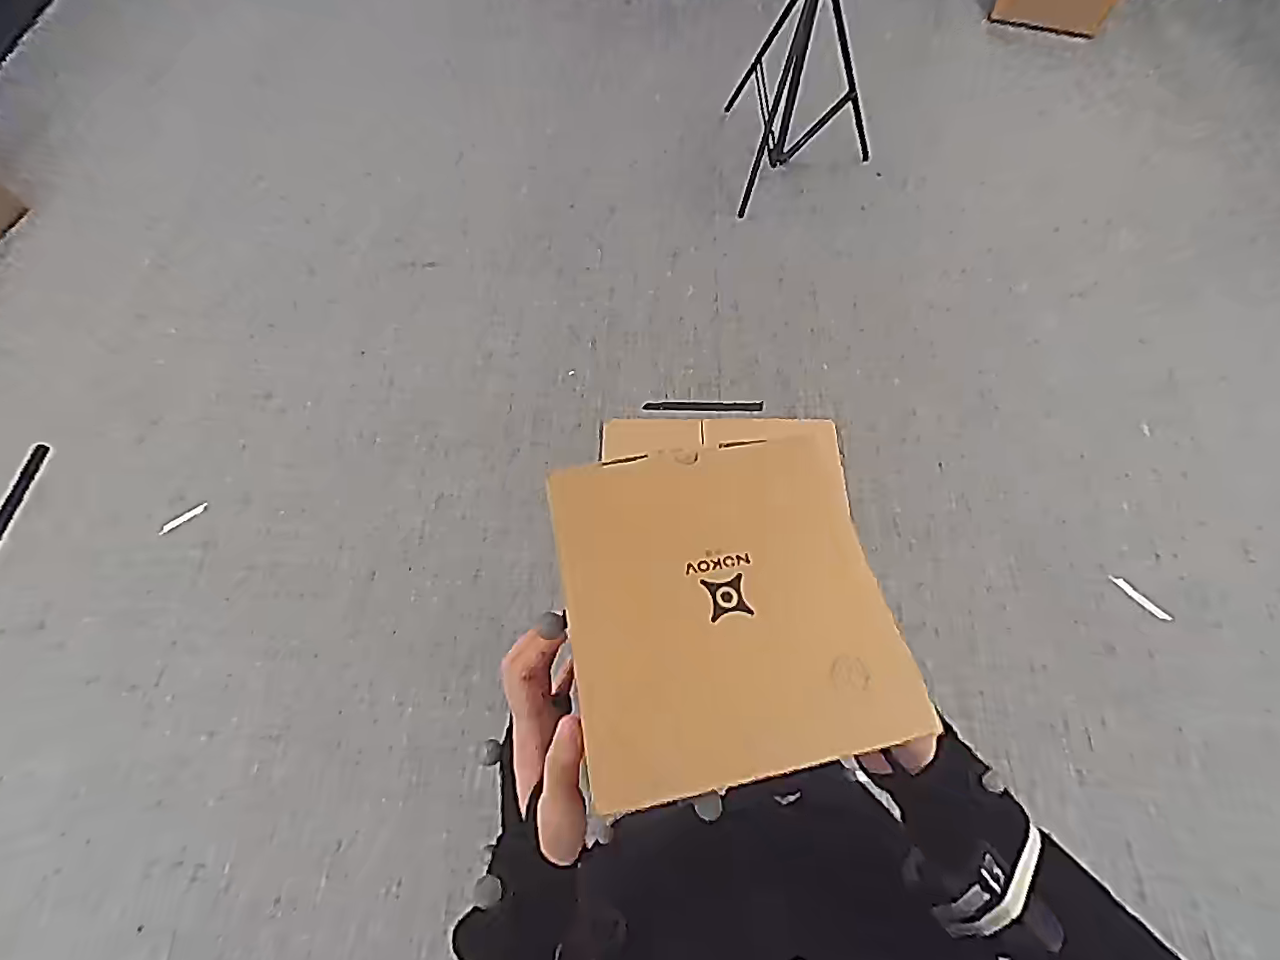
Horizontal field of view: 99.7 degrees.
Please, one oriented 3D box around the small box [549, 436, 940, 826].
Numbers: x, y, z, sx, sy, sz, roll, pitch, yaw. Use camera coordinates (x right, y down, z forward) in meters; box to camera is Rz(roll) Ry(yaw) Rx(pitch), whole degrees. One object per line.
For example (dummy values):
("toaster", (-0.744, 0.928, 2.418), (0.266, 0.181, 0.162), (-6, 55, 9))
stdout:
("small box", (0.040, 0.098, 0.346), (0.168, 0.176, 0.179), (-9, 60, -9))
